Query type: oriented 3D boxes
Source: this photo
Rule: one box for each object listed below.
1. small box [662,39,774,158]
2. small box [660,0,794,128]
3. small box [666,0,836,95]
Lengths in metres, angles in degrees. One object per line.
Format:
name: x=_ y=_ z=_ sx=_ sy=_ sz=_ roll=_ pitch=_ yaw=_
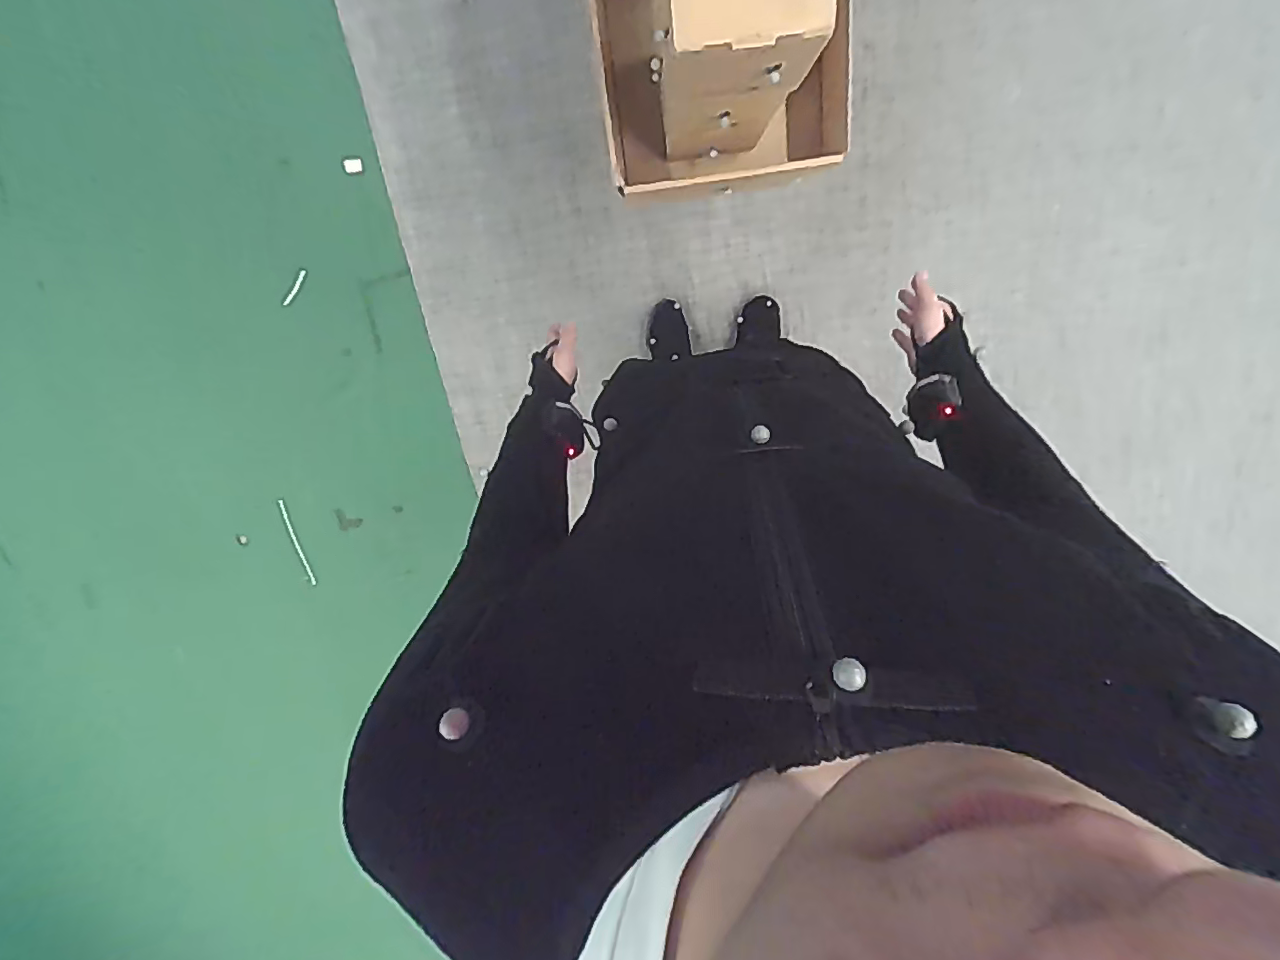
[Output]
small box: x=0.124 y=-0.661 z=0.896 sx=0.168 sy=0.176 sz=0.179 roll=-5 pitch=108 yaw=5
small box: x=0.115 y=-0.607 z=0.743 sx=0.168 sy=0.176 sz=0.179 roll=-5 pitch=109 yaw=4
small box: x=0.112 y=-0.548 z=0.590 sx=0.168 sy=0.176 sz=0.179 roll=-4 pitch=109 yaw=4
